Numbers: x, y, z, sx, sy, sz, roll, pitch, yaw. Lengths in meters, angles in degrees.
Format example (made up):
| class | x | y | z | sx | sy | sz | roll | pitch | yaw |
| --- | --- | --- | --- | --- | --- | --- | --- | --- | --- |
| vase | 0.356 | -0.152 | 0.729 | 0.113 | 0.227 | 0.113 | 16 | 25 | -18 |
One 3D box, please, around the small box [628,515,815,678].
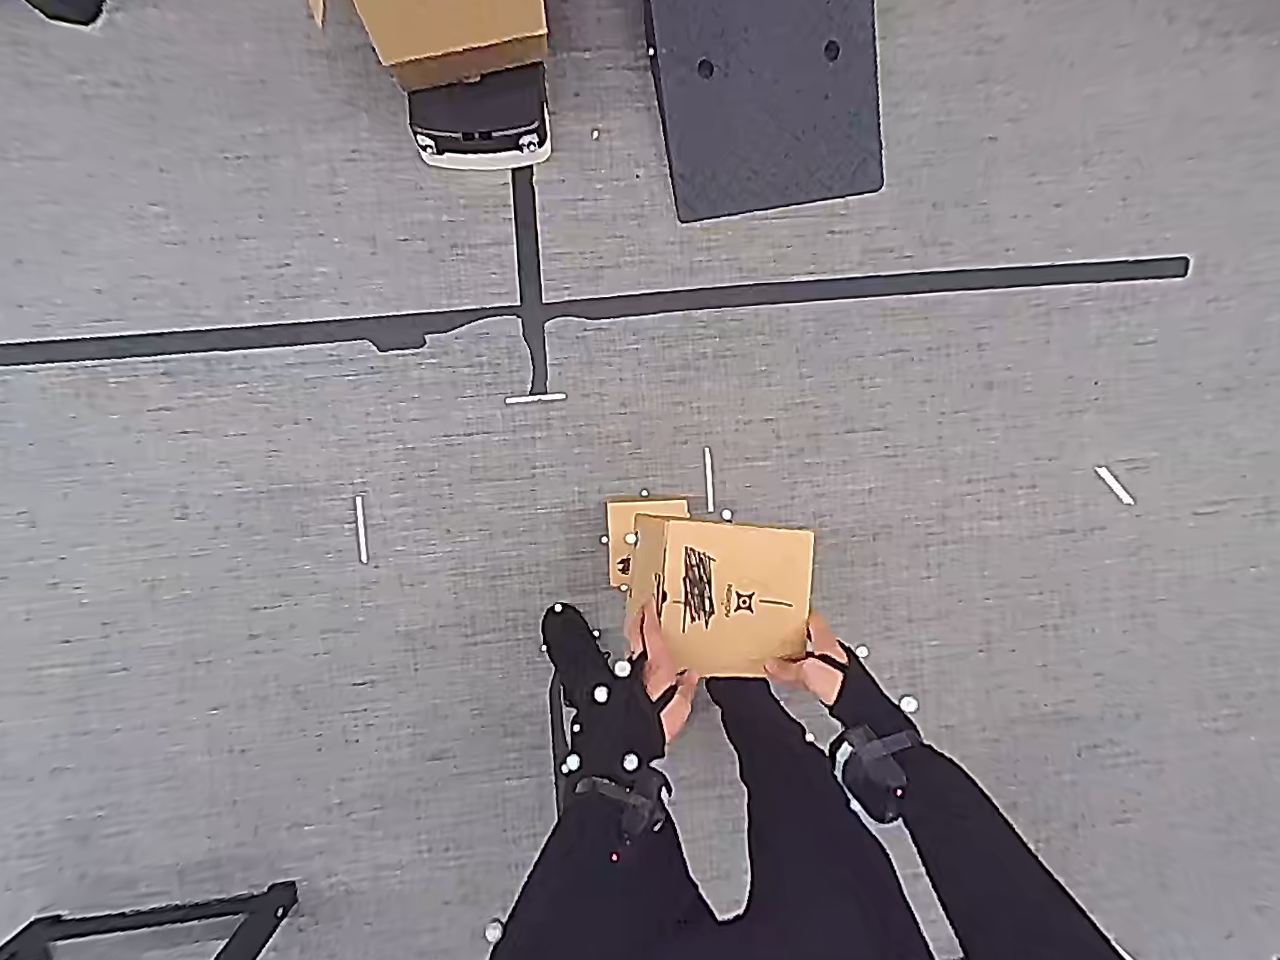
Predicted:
| class | x | y | z | sx | sy | sz | roll | pitch | yaw |
| --- | --- | --- | --- | --- | --- | --- | --- | --- | --- |
| small box | 0.088 | 0.131 | 0.659 | 0.179 | 0.176 | 0.168 | 5 | 87 | -13 |
